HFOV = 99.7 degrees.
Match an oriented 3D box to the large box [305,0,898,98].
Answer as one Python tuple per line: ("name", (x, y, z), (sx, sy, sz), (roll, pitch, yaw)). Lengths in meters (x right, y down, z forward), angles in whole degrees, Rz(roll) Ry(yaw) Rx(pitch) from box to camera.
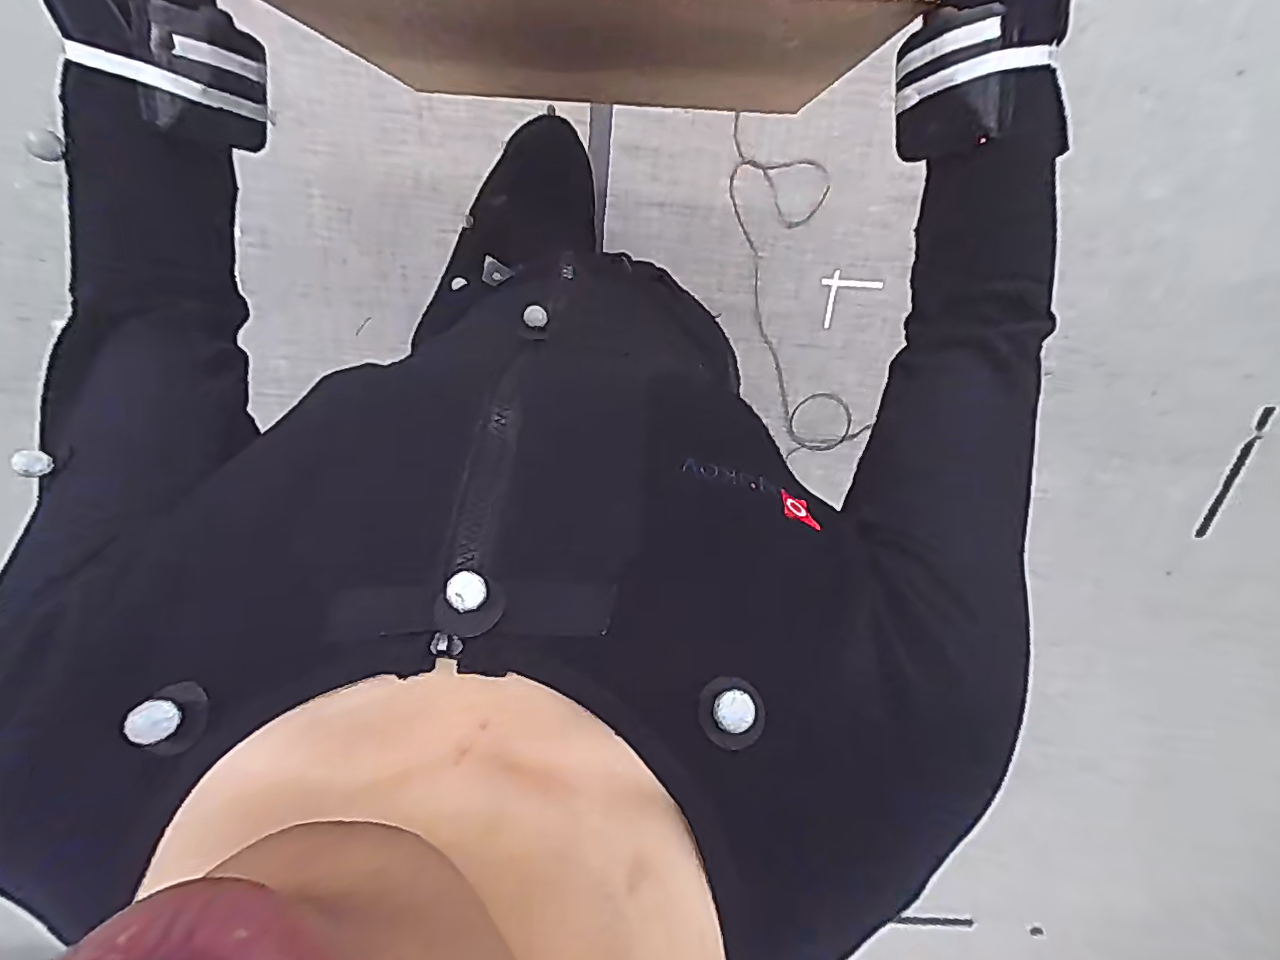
("large box", (-0.027, -0.484, 0.372), (0.408, 0.320, 0.320), (2, 115, 0))
